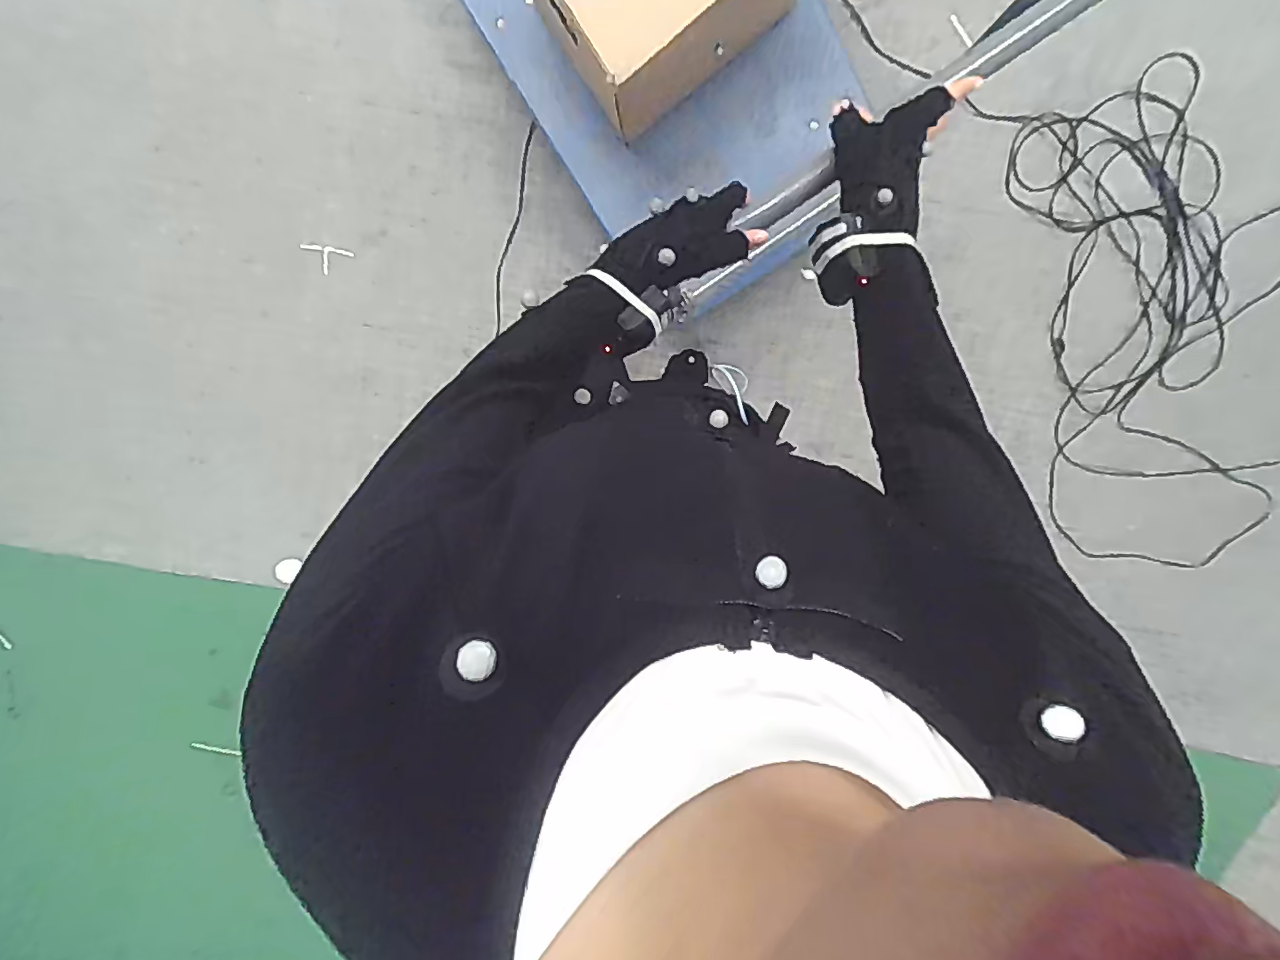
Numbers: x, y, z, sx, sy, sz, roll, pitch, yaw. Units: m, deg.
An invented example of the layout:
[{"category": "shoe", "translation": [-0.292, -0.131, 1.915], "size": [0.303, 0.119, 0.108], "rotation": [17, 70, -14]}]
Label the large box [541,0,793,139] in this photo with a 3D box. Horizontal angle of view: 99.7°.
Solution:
[{"category": "large box", "translation": [0.049, -0.883, 0.905], "size": [0.408, 0.320, 0.320], "rotation": [-34, 102, 12]}]
